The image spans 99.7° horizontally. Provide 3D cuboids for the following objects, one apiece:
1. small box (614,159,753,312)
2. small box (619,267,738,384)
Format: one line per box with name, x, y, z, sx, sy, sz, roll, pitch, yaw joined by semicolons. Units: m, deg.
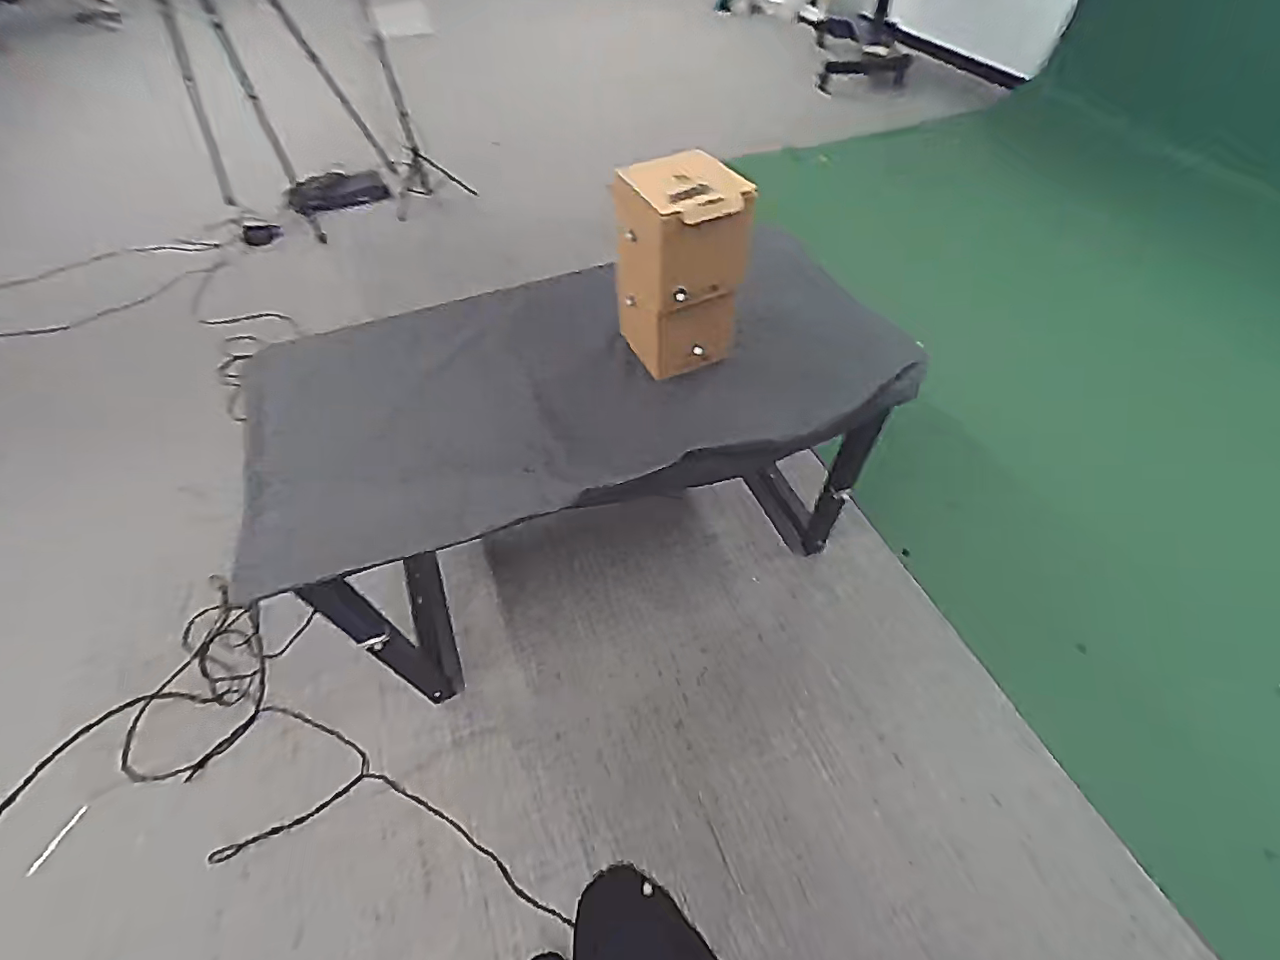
small box;0.069;-0.406;0.915;0.168;0.176;0.179;-22;54;-14
small box;0.069;-0.318;1.055;0.168;0.176;0.179;-22;55;-13
